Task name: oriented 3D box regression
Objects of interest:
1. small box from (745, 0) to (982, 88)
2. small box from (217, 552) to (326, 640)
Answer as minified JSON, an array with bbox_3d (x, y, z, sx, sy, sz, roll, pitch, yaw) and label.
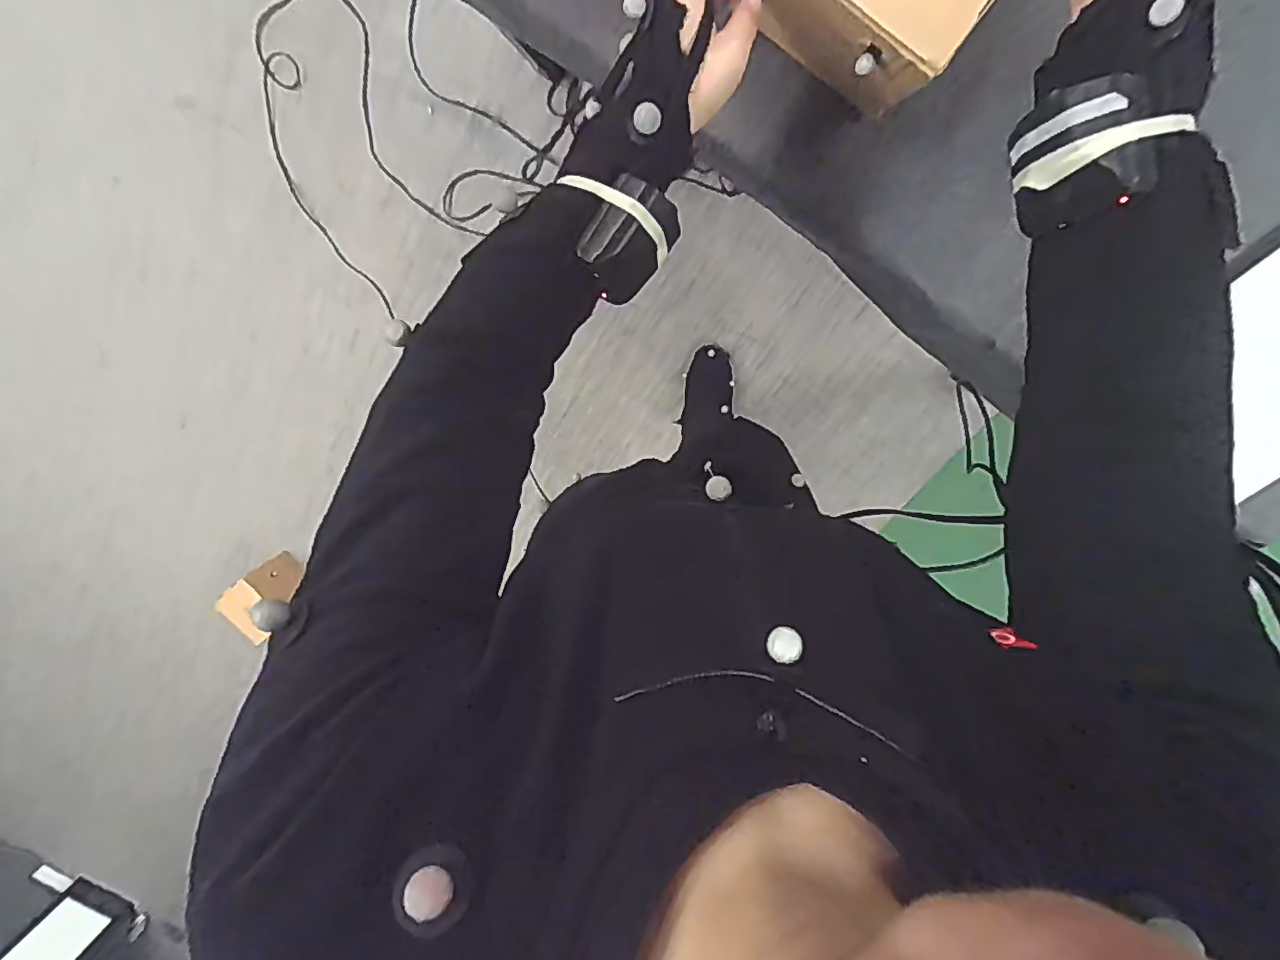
[{"bbox_3d":[0.160,-0.393,0.347,0.179,0.176,0.168,31,117,-8],"label":"small box"},{"bbox_3d":[-1.113,0.342,1.644,0.168,0.176,0.179,-36,102,20],"label":"small box"}]
